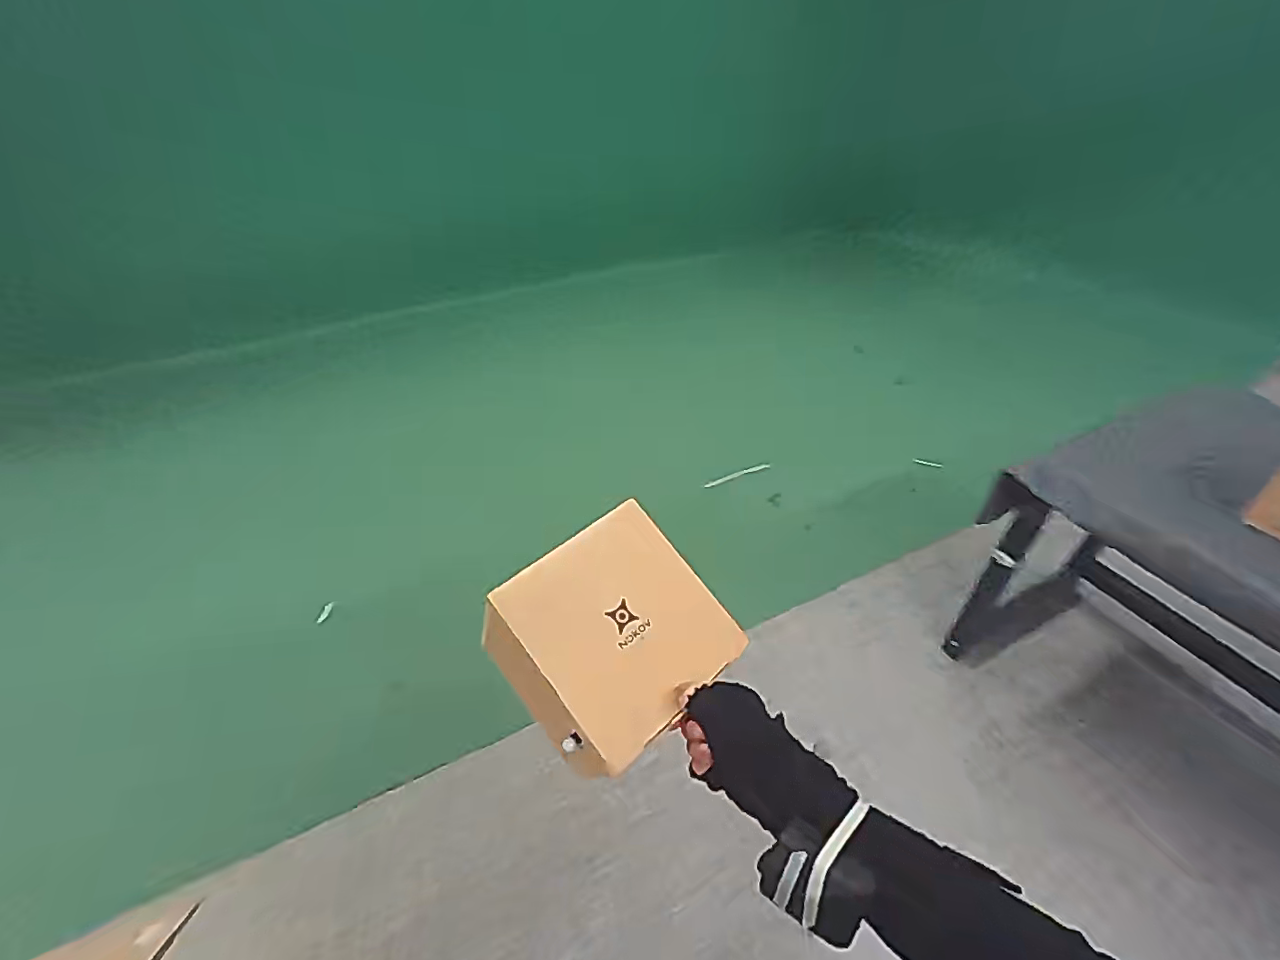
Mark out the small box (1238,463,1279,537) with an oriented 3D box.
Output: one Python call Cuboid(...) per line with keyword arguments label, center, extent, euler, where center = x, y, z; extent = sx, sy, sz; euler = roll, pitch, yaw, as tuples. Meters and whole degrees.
Cuboid(label="small box", center=(1.234, 0.018, 0.953), extent=(0.179, 0.176, 0.168), euler=(-23, 44, -22))
